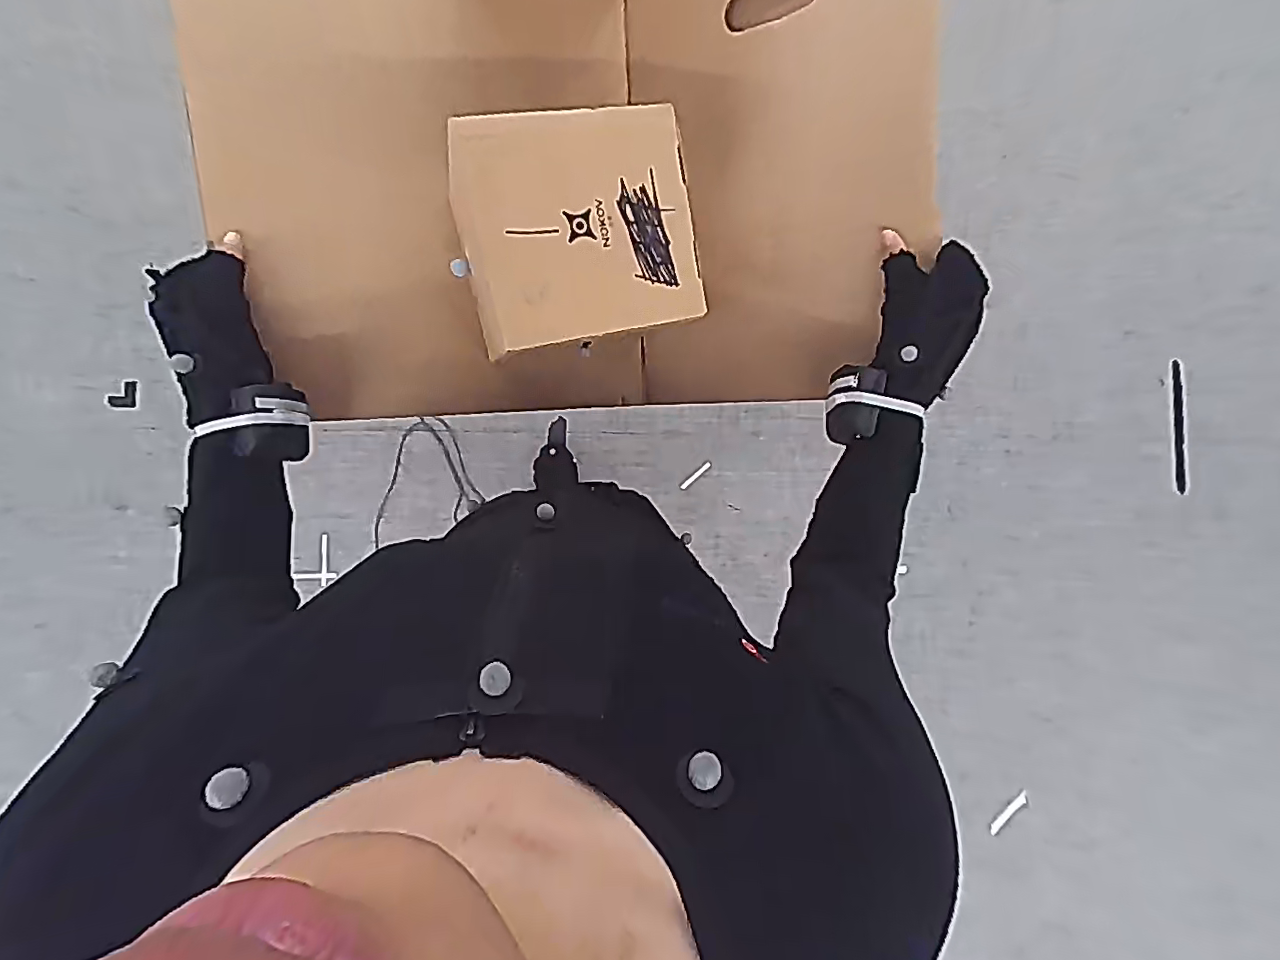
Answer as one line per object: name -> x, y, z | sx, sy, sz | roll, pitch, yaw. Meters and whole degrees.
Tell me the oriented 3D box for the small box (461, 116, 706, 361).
small box -> -0.061, -0.210, 0.506 | 0.179, 0.176, 0.168 | -15, 103, -16
